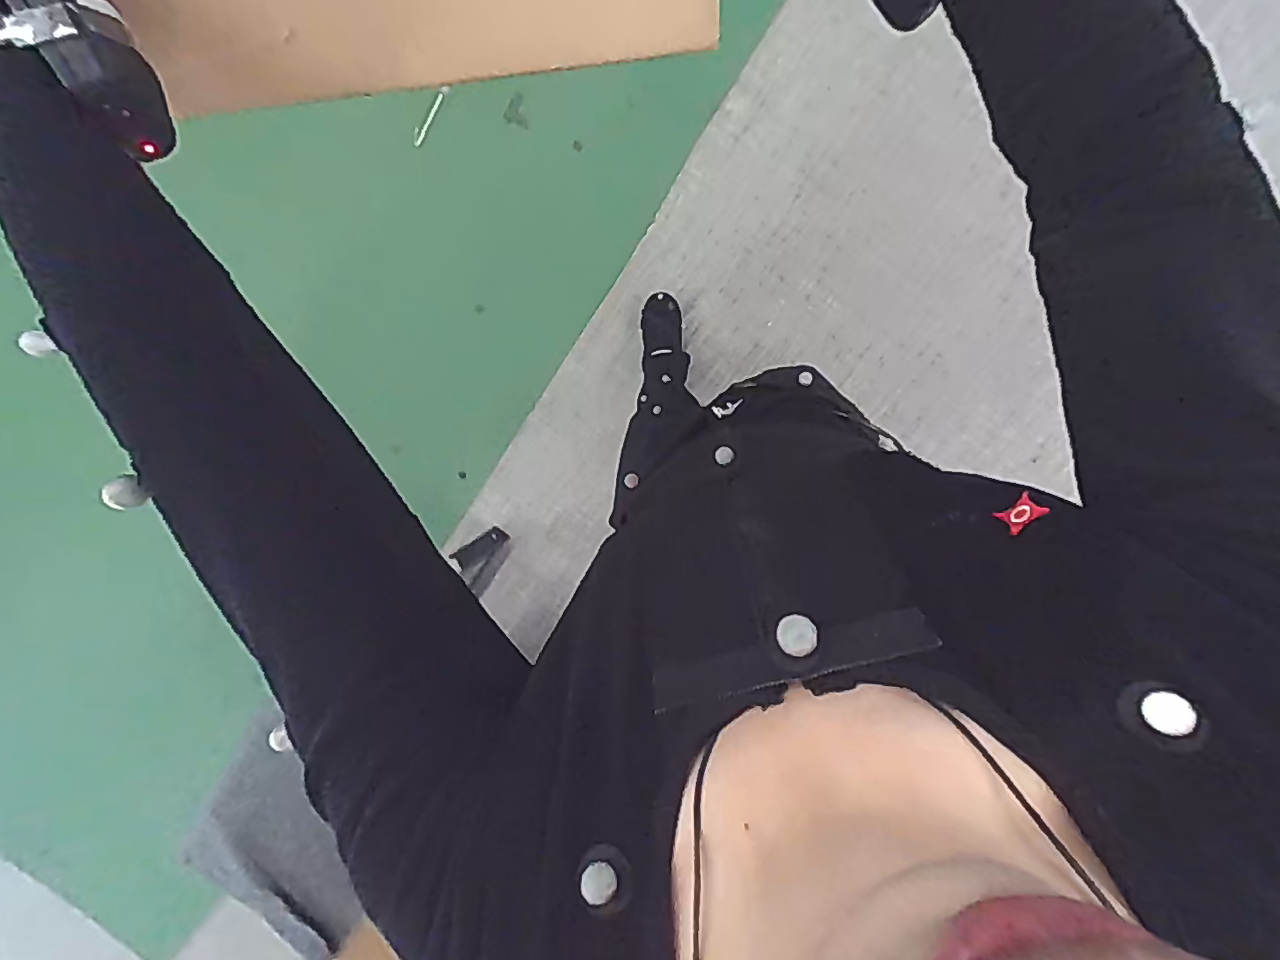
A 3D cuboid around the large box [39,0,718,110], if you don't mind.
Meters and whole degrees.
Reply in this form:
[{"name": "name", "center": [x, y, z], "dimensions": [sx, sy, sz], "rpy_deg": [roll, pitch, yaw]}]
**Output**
[{"name": "large box", "center": [-0.179, -0.478, 0.366], "dimensions": [0.408, 0.320, 0.320], "rpy_deg": [-10, 130, -5]}]
